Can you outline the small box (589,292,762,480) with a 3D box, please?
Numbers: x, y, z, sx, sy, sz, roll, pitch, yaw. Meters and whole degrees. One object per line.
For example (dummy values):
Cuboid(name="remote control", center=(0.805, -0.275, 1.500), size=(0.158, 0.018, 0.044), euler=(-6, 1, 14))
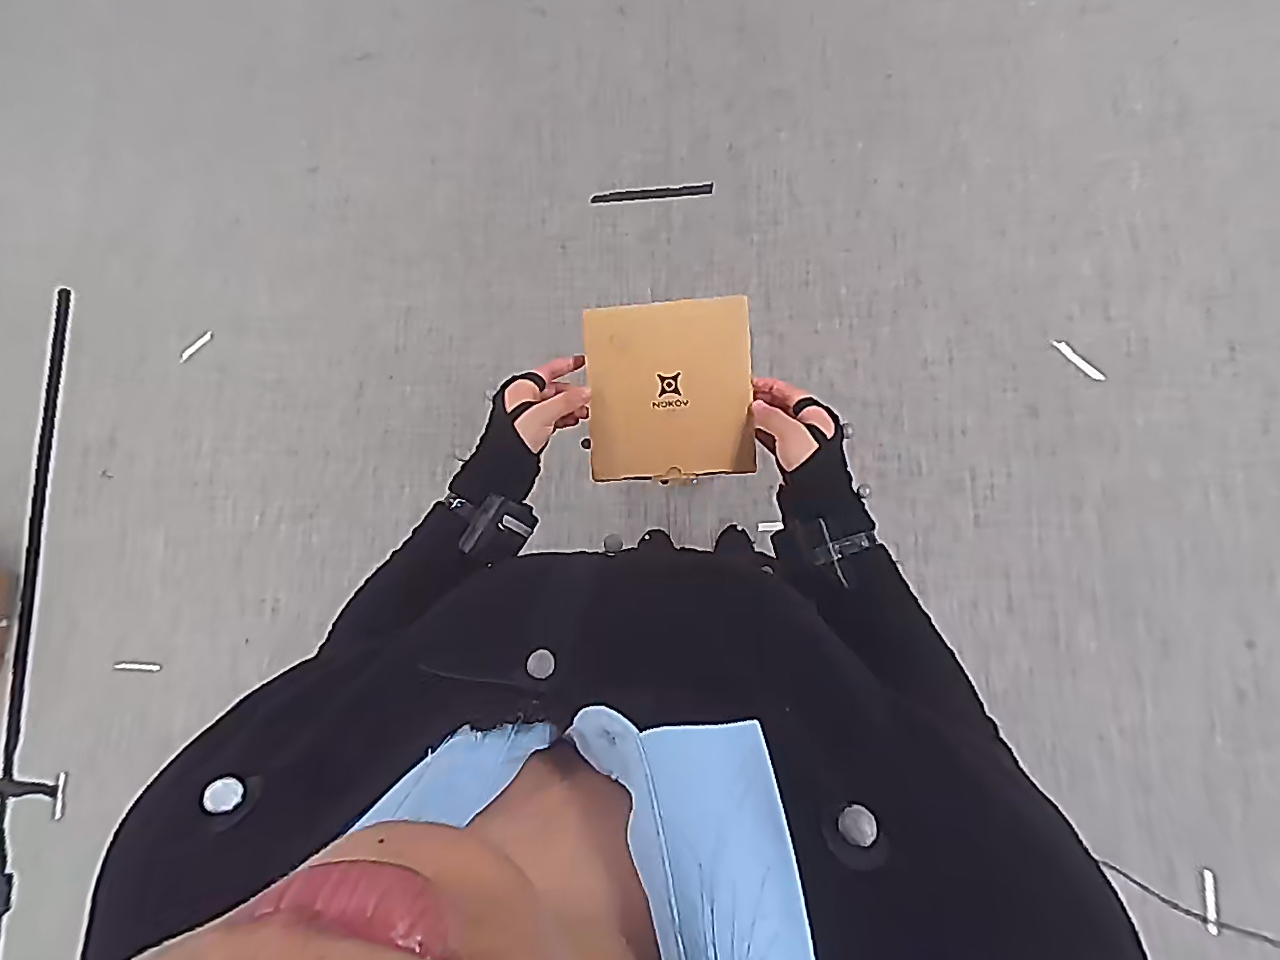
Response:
Cuboid(name="small box", center=(0.039, -0.095, 0.609), size=(0.168, 0.176, 0.179), euler=(-4, 94, 4))
